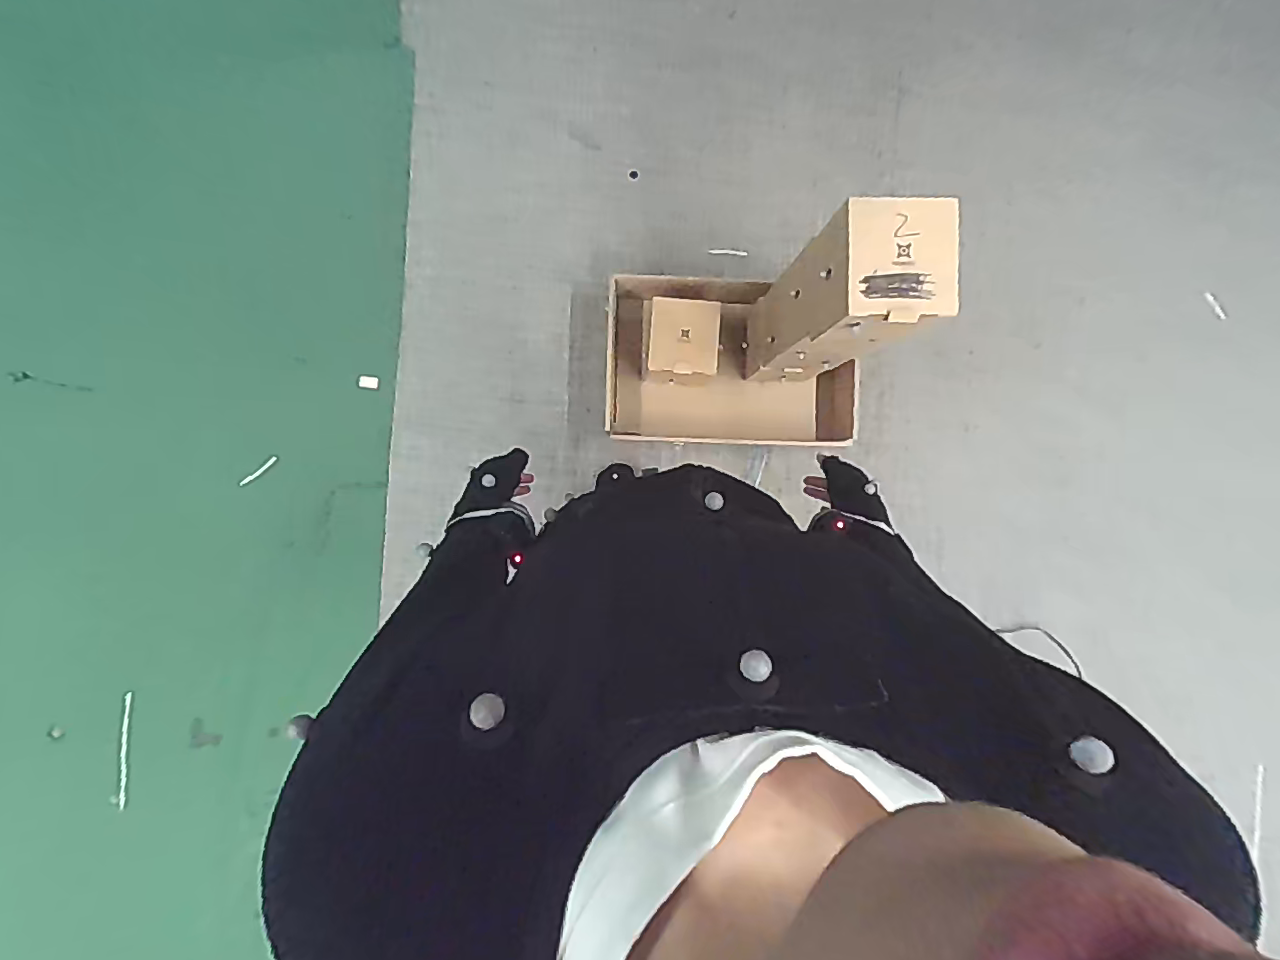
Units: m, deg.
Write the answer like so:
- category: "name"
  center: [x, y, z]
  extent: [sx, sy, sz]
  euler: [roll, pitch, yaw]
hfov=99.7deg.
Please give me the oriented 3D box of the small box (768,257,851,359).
- category: "small box"
  center: [0.381, -0.364, 1.175]
  extent: [0.168, 0.176, 0.179]
  euler: [2, 91, -1]

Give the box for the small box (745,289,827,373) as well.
- category: "small box"
  center: [0.363, -0.368, 1.356]
  extent: [0.168, 0.176, 0.179]
  euler: [-2, 91, 0]

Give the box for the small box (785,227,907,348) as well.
- category: "small box"
  center: [0.382, -0.354, 1.029]
  extent: [0.168, 0.176, 0.179]
  euler: [2, 91, -2]
